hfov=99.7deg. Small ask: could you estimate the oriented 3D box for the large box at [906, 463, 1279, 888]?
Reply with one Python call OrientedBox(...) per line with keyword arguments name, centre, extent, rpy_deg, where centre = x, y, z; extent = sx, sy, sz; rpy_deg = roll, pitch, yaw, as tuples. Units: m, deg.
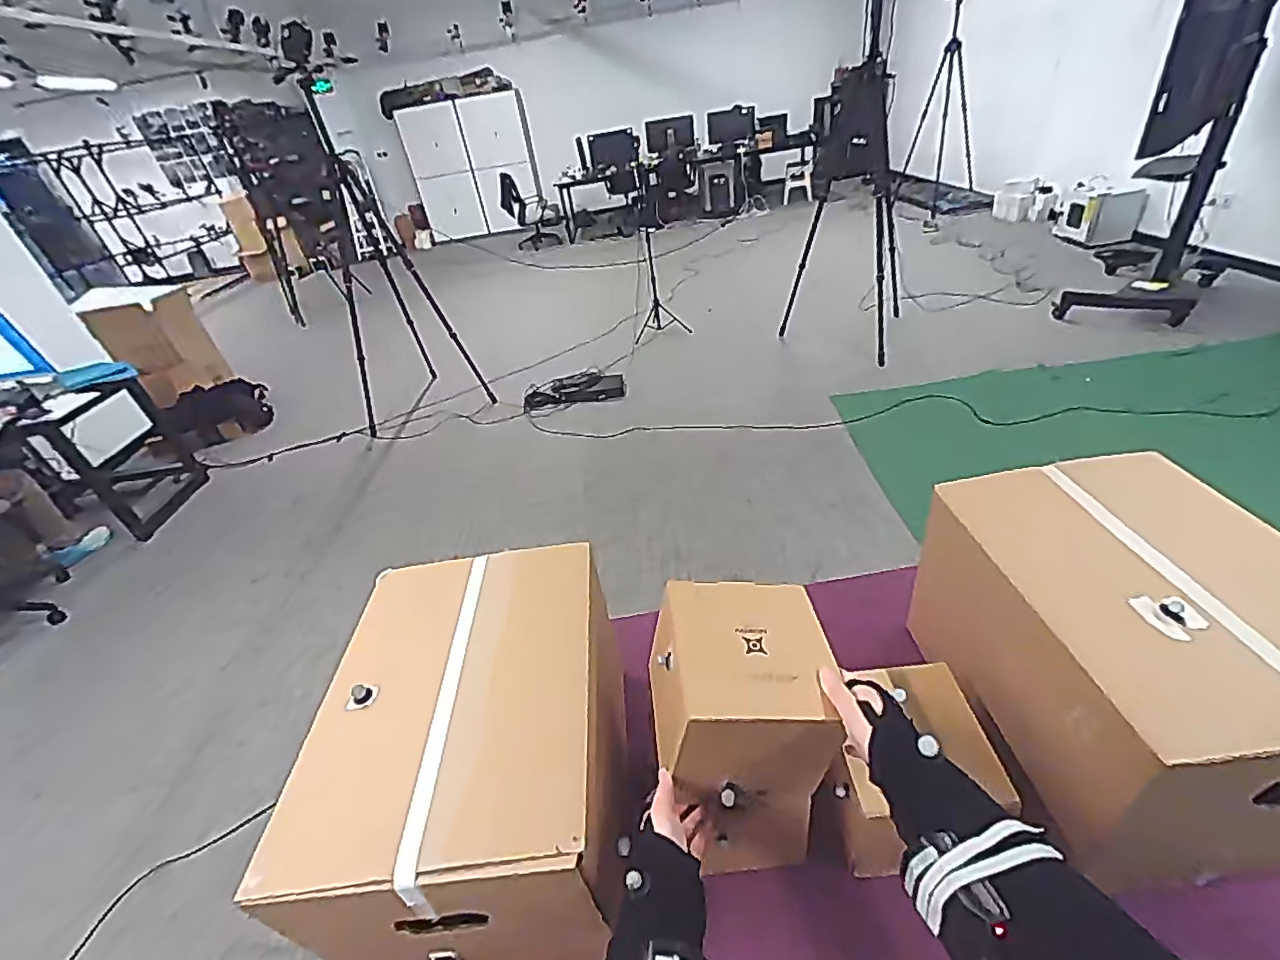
OrientedBox(name="large box", centre=(0.605, 0.227, 0.701), extent=(0.320, 0.320, 0.408), rpy_deg=(-8, 36, 3))
